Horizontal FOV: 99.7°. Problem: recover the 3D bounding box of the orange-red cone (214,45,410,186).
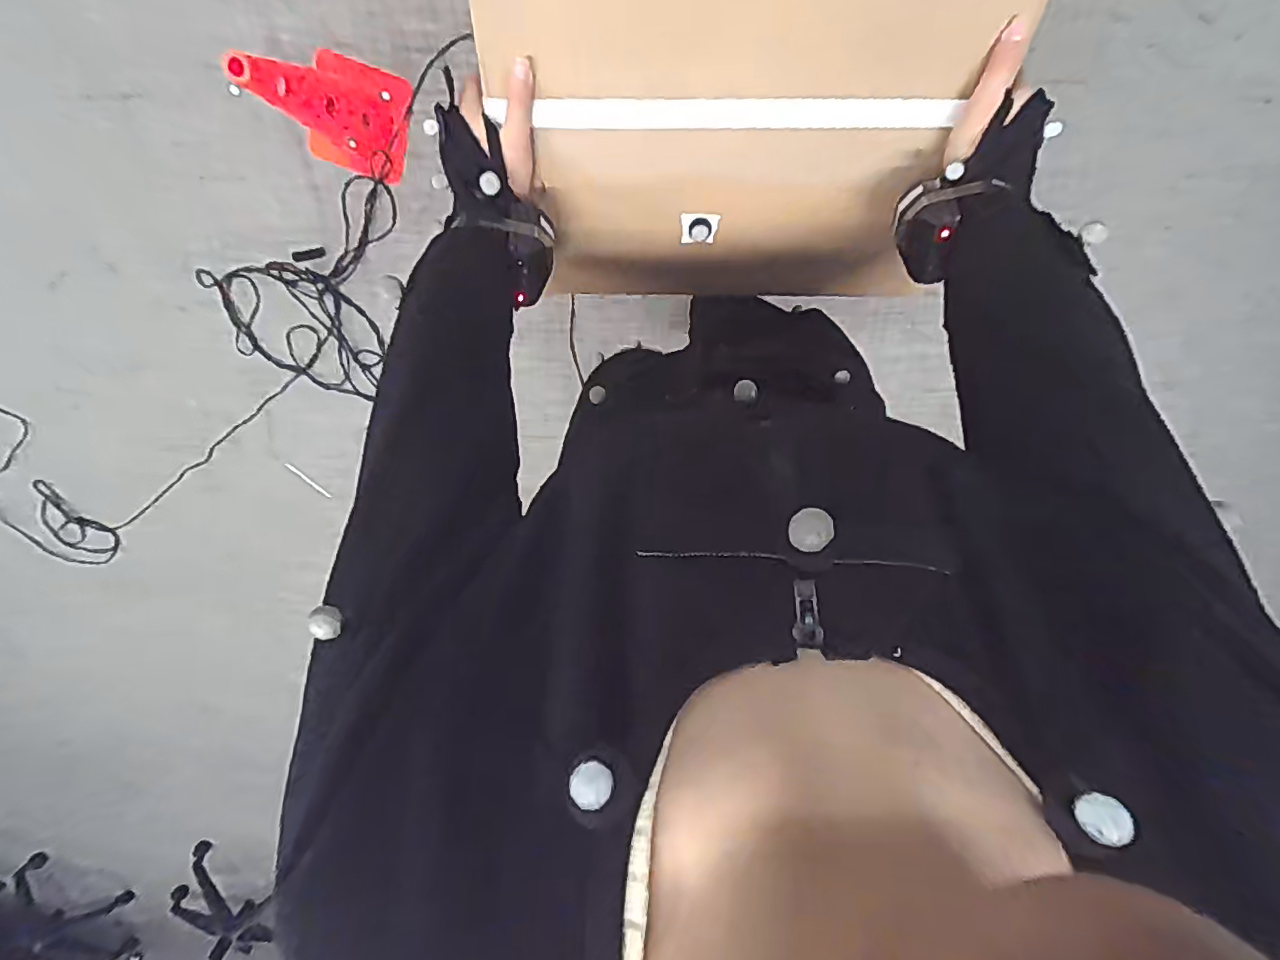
[{"bbox_3d":[-0.599,-0.679,0.958,0.199,0.360,0.198,21,111,-3],"label":"orange-red cone"}]
